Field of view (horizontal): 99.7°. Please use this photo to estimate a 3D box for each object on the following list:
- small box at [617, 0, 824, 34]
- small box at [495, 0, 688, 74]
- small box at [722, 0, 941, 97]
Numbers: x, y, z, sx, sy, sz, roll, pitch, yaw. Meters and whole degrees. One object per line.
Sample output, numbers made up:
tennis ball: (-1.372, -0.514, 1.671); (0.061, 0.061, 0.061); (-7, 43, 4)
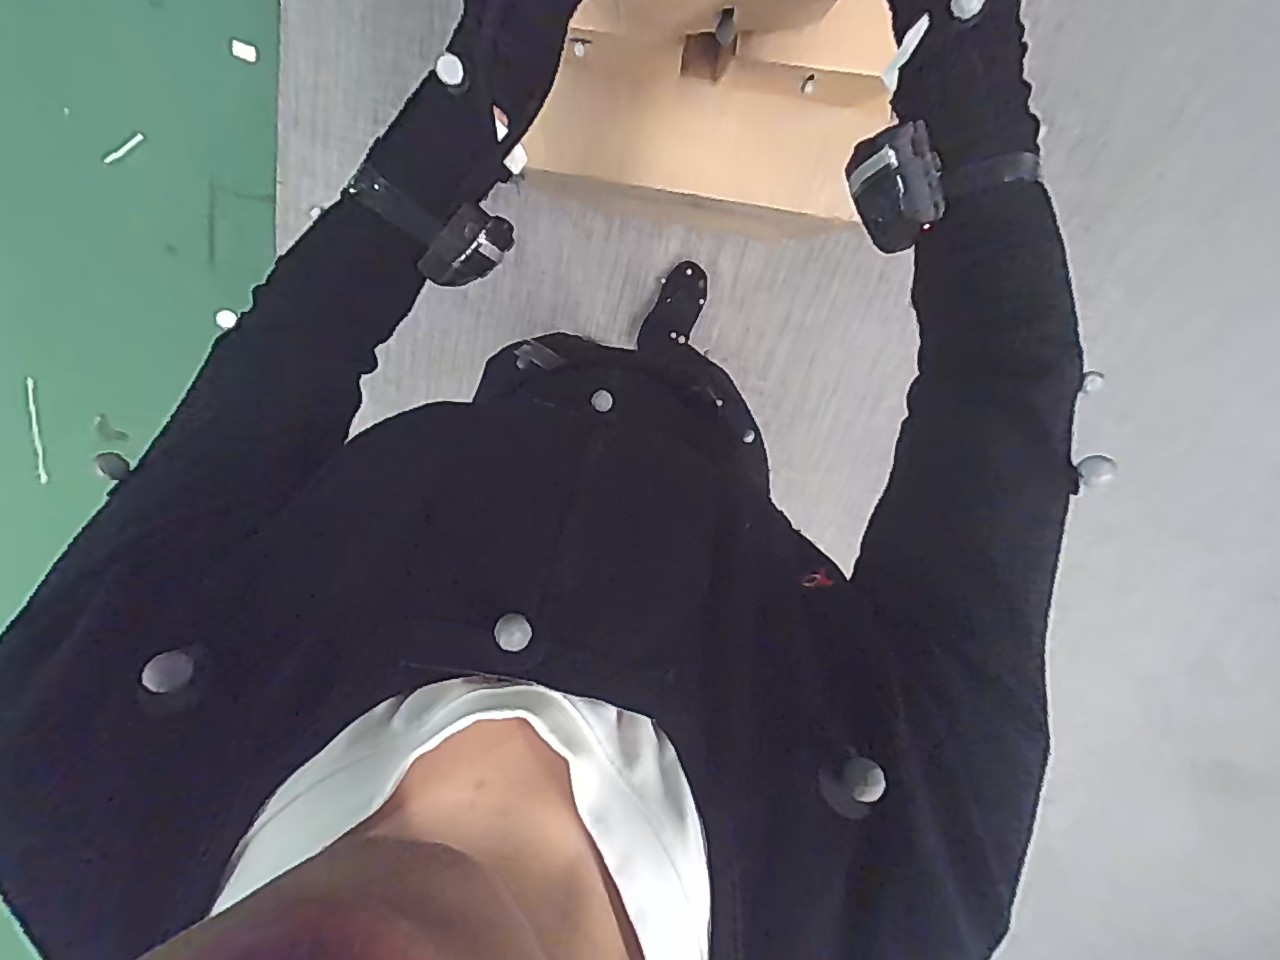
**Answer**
small box: (0.065, -0.434, 0.366); (0.179, 0.176, 0.168); (-3, 114, 2)
small box: (-0.031, -0.515, 0.521); (0.179, 0.176, 0.168); (7, 118, -2)
small box: (0.182, -0.489, 0.526); (0.179, 0.176, 0.168); (5, 119, -2)
